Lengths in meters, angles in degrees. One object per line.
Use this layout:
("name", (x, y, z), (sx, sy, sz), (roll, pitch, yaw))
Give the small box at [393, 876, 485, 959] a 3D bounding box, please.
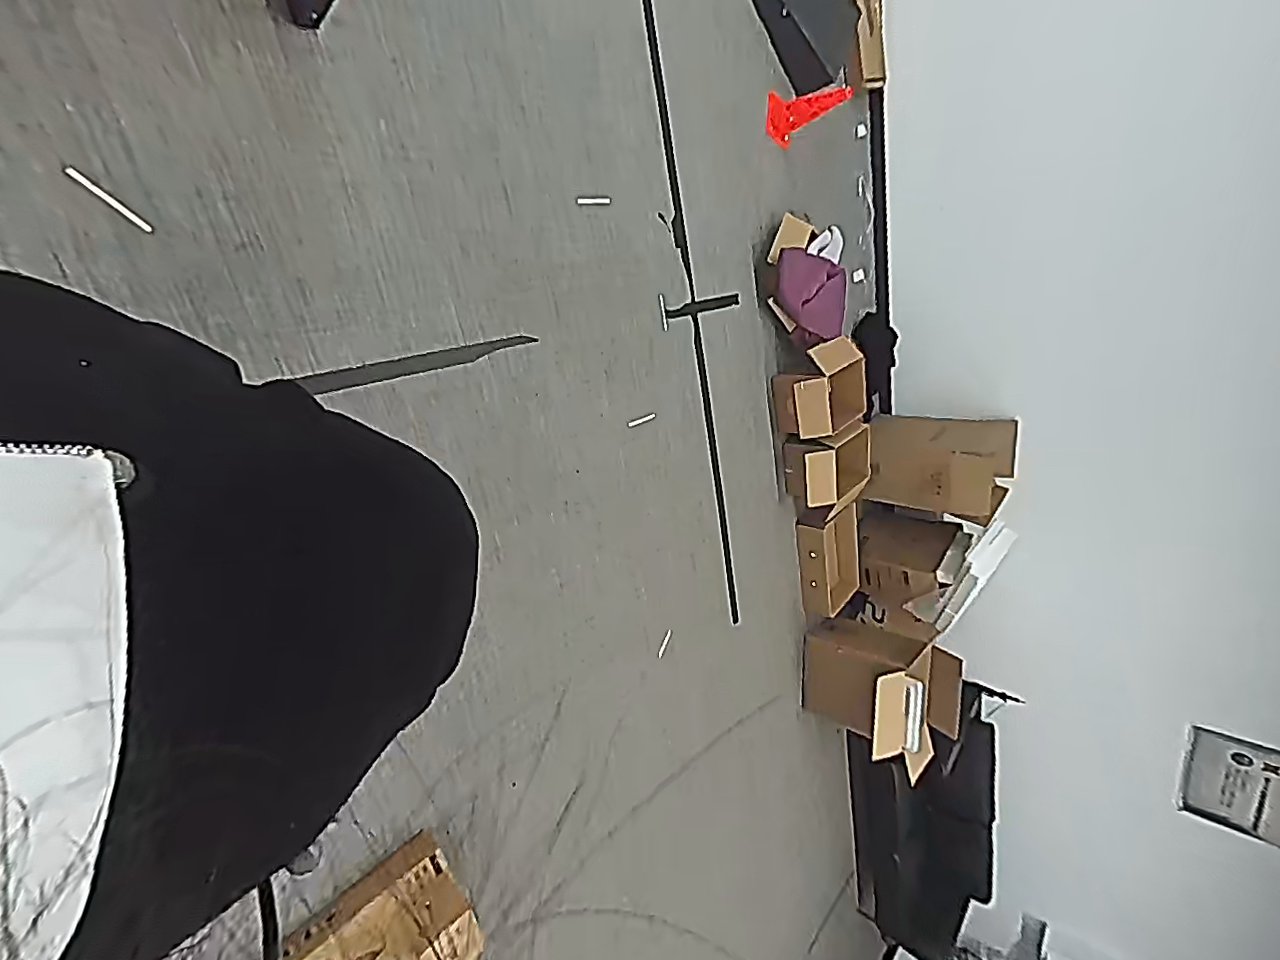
("small box", (-0.576, 1.294, 1.545), (0.168, 0.176, 0.179), (-28, 116, -39))
